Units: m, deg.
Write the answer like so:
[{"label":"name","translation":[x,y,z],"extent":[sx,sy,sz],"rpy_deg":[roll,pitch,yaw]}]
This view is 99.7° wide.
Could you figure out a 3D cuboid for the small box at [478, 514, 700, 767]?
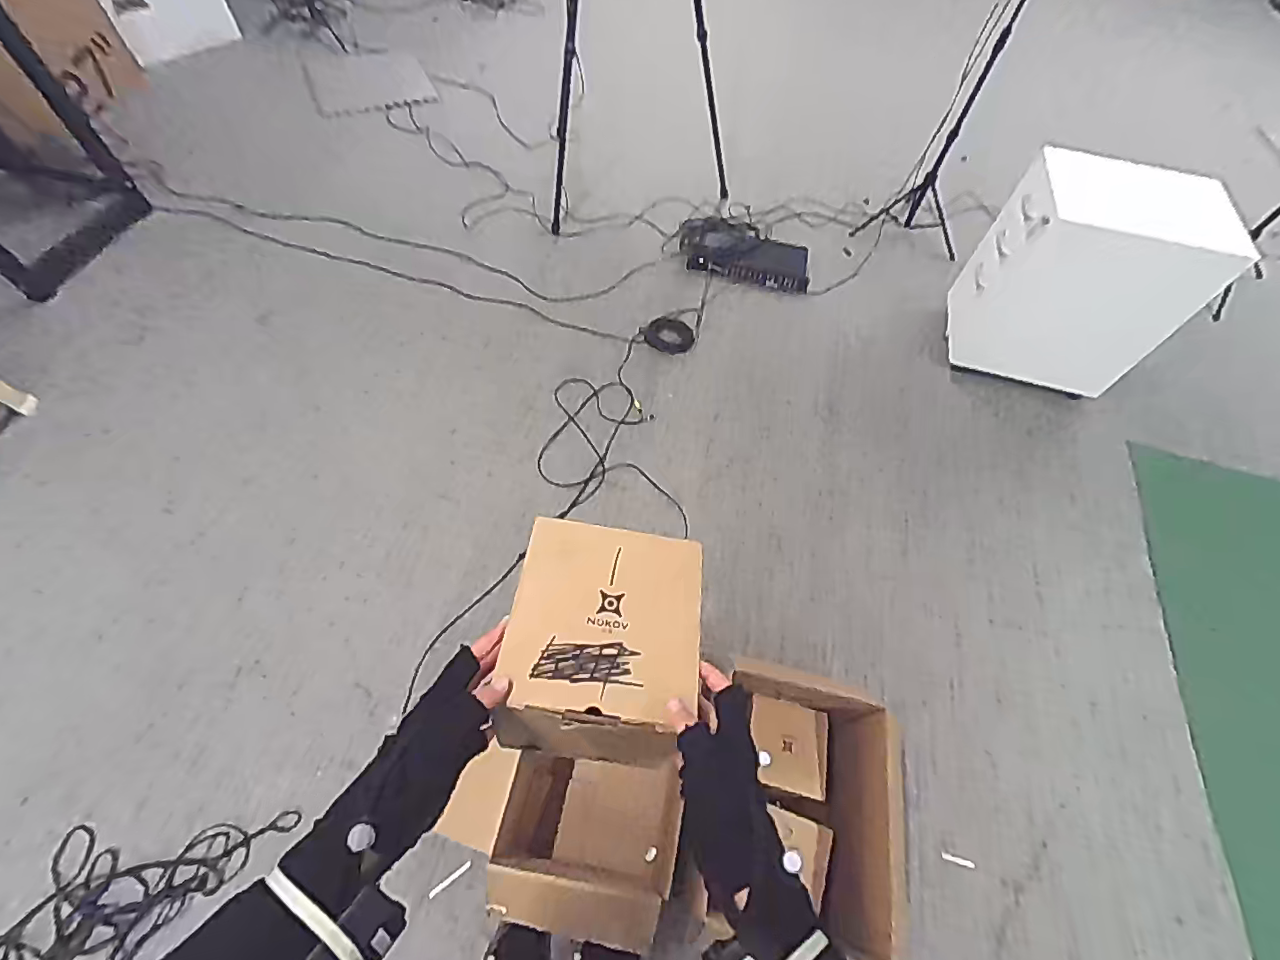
[{"label":"small box","translation":[-0.043,0.160,0.519],"extent":[0.168,0.176,0.179],"rpy_deg":[10,52,-3]}]
